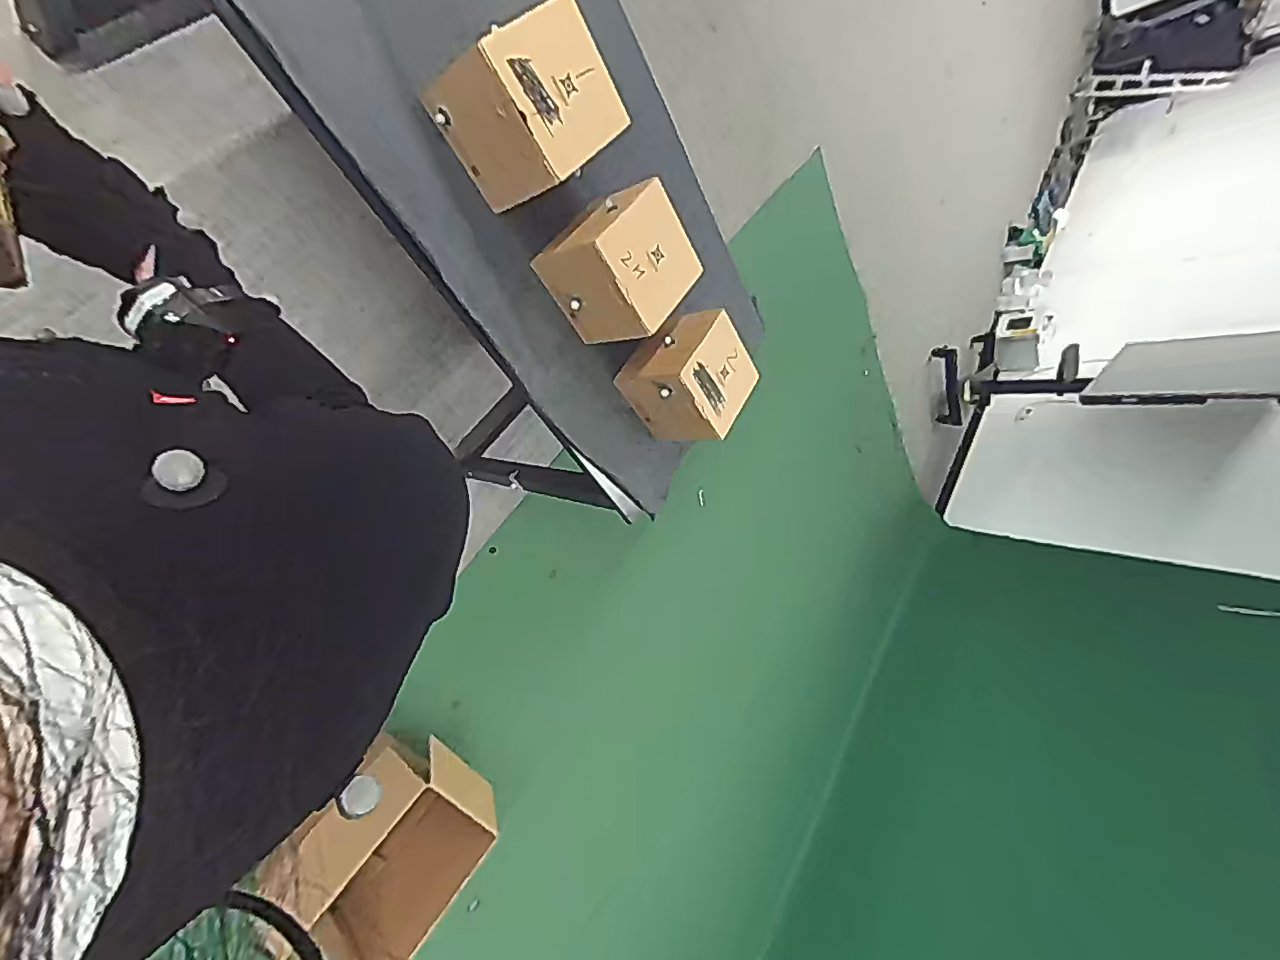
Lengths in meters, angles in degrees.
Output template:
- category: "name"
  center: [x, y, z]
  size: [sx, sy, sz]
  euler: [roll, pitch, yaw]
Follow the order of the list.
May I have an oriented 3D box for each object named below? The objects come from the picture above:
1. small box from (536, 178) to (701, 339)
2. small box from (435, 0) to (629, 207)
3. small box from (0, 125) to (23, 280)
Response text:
- category: "small box"
  center: [-0.035, -0.352, 0.885]
  size: [0.179, 0.176, 0.168]
  euler: [-55, 129, -24]
- category: "small box"
  center: [-0.155, -0.510, 0.746]
  size: [0.179, 0.176, 0.168]
  euler: [-54, 129, -25]
- category: "small box"
  center: [-0.450, -0.214, 0.271]
  size: [0.168, 0.176, 0.179]
  euler: [-12, 102, -46]
